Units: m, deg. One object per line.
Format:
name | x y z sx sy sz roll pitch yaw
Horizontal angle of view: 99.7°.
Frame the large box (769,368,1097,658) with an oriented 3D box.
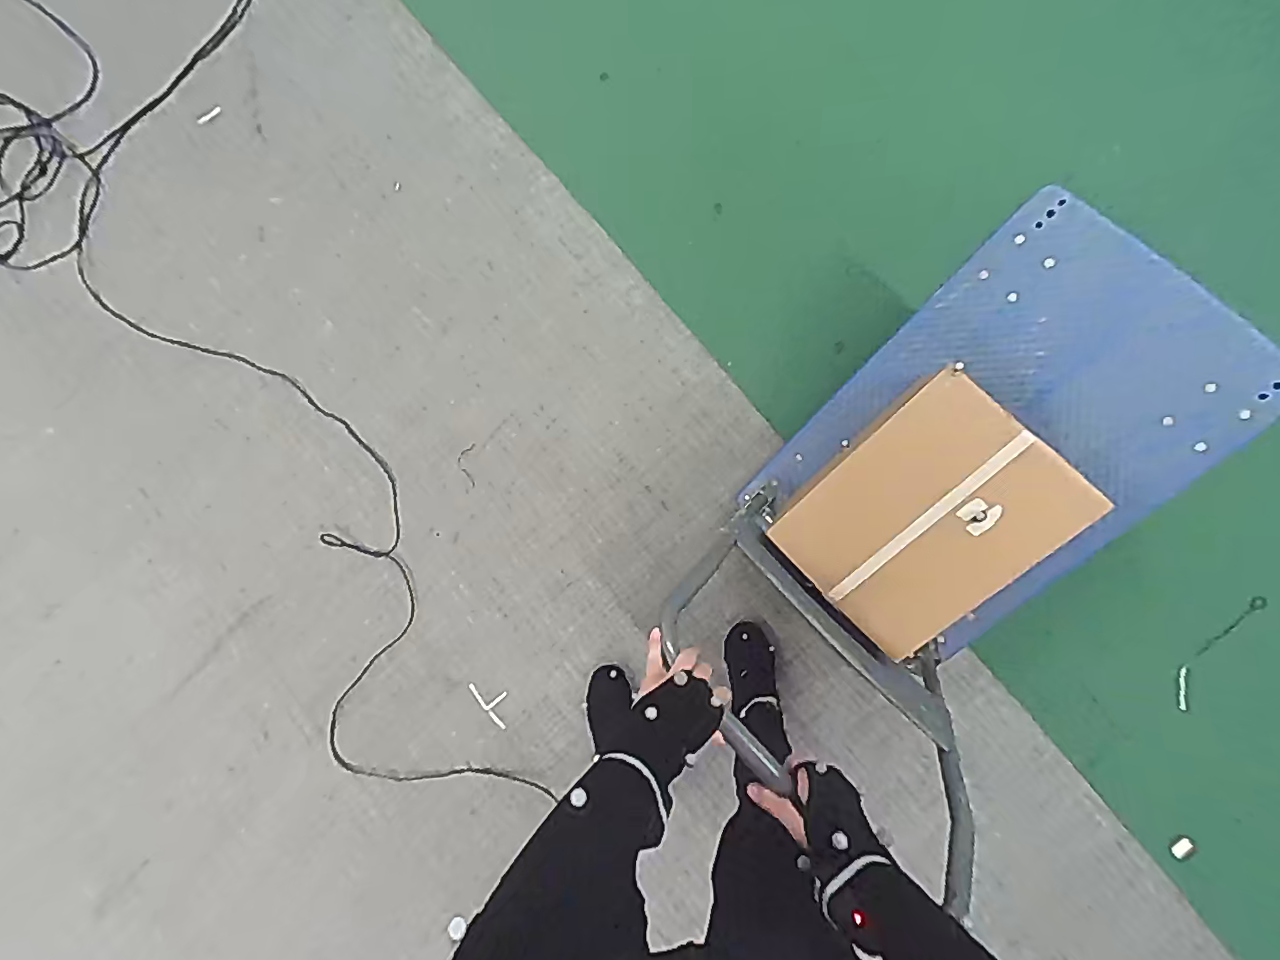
large box | 0.509 0.050 1.035 0.320 0.320 0.408 46 109 9
